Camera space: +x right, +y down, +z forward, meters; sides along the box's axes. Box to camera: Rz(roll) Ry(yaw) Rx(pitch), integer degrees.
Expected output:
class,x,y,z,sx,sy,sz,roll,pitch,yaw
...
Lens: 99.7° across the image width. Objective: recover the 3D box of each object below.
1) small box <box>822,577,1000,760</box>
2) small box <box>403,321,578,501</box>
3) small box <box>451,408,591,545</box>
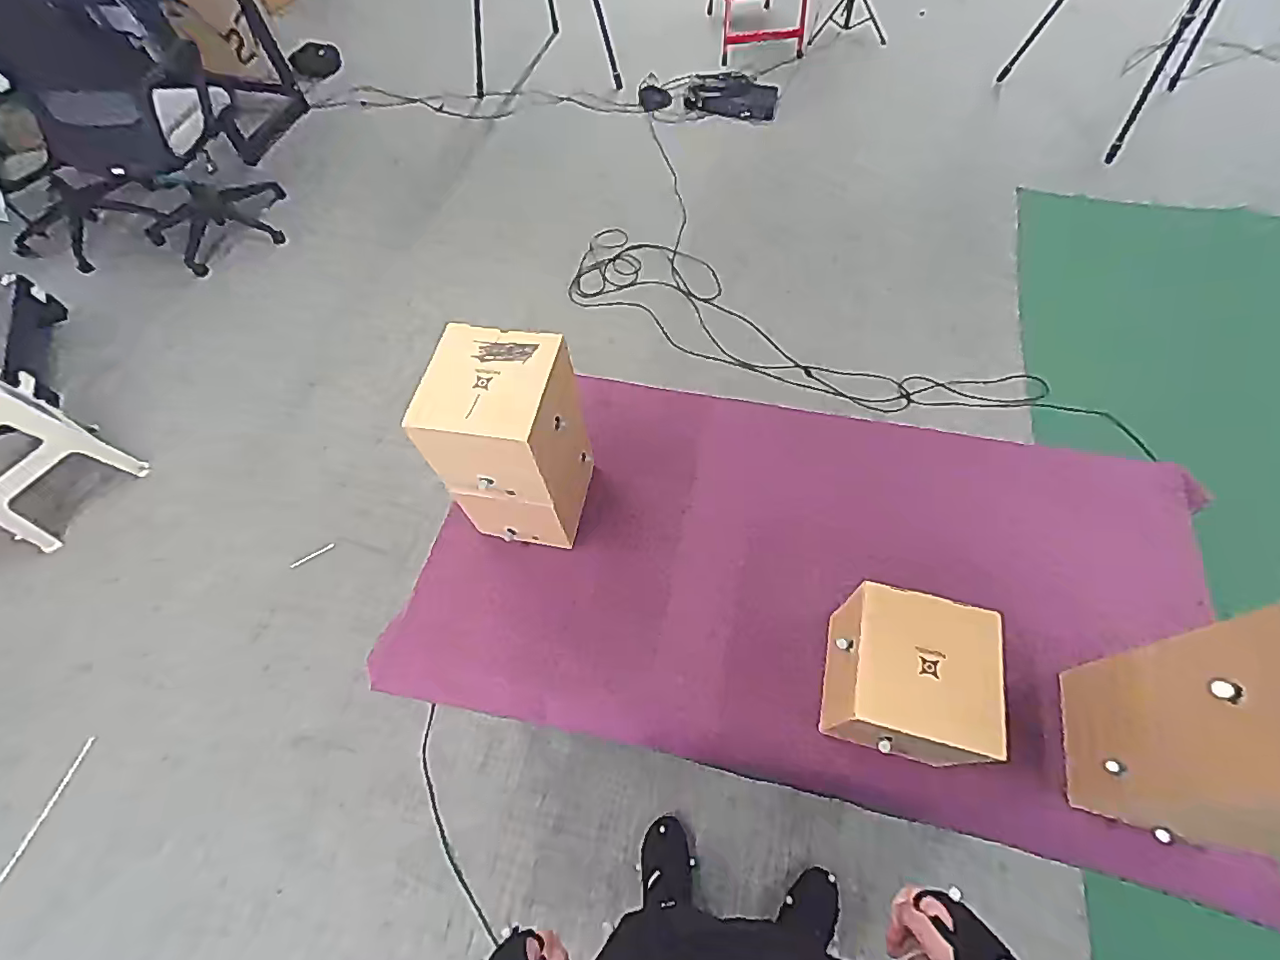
class,x,y,z,sx,sy,sz,roll,pitch,yaw
small box,0.349,0.256,0.719,0.168,0.176,0.179,13,61,11
small box,-0.191,-0.093,0.757,0.168,0.176,0.179,8,62,8
small box,-0.183,-0.013,0.900,0.168,0.176,0.179,8,63,8
